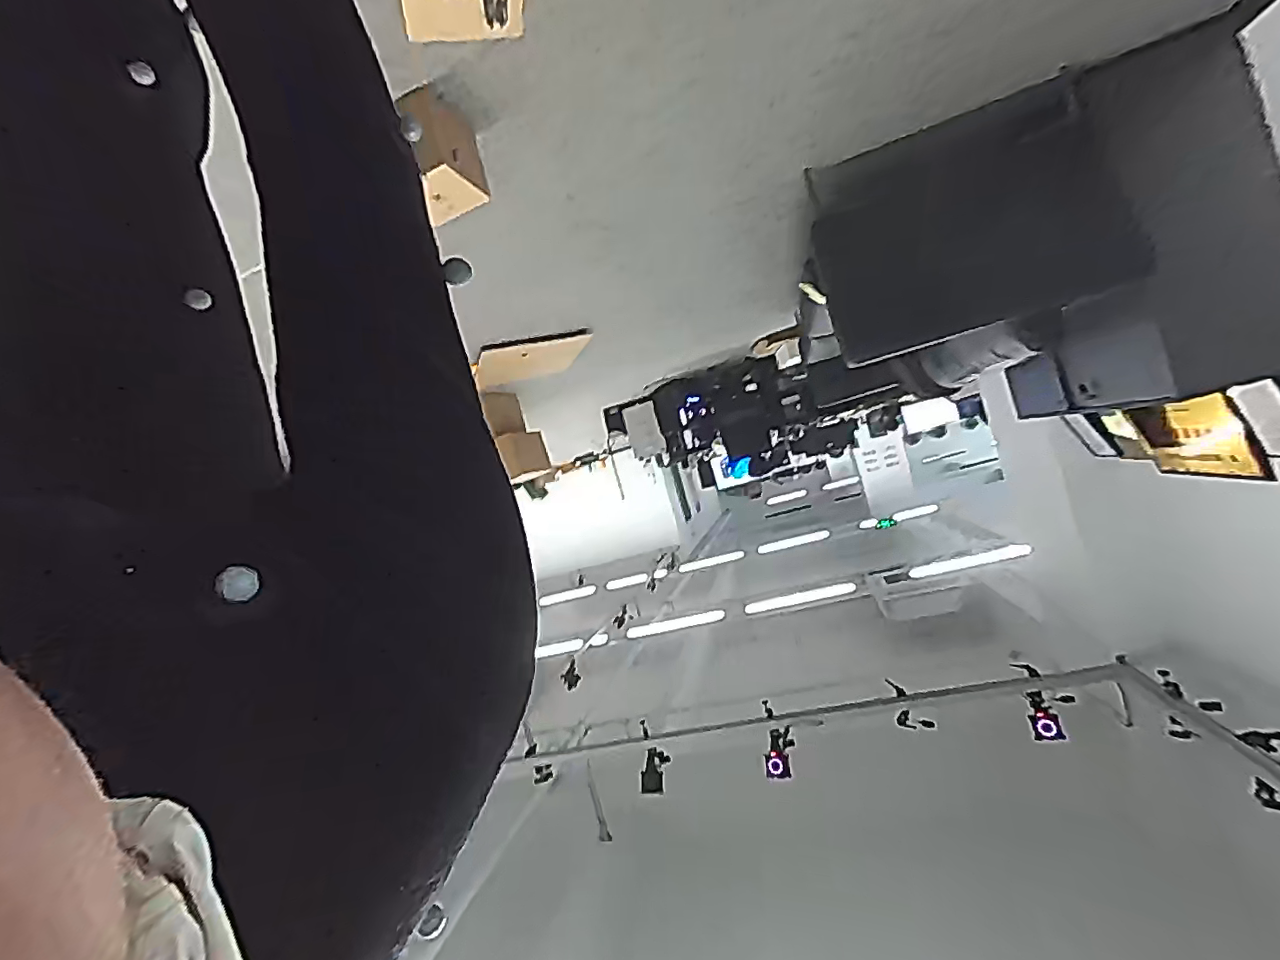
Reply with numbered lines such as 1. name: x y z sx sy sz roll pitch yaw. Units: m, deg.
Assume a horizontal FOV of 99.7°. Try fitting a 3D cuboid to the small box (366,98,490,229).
1. small box: -0.465 -0.696 1.191 0.168 0.176 0.179 -16 180 18
